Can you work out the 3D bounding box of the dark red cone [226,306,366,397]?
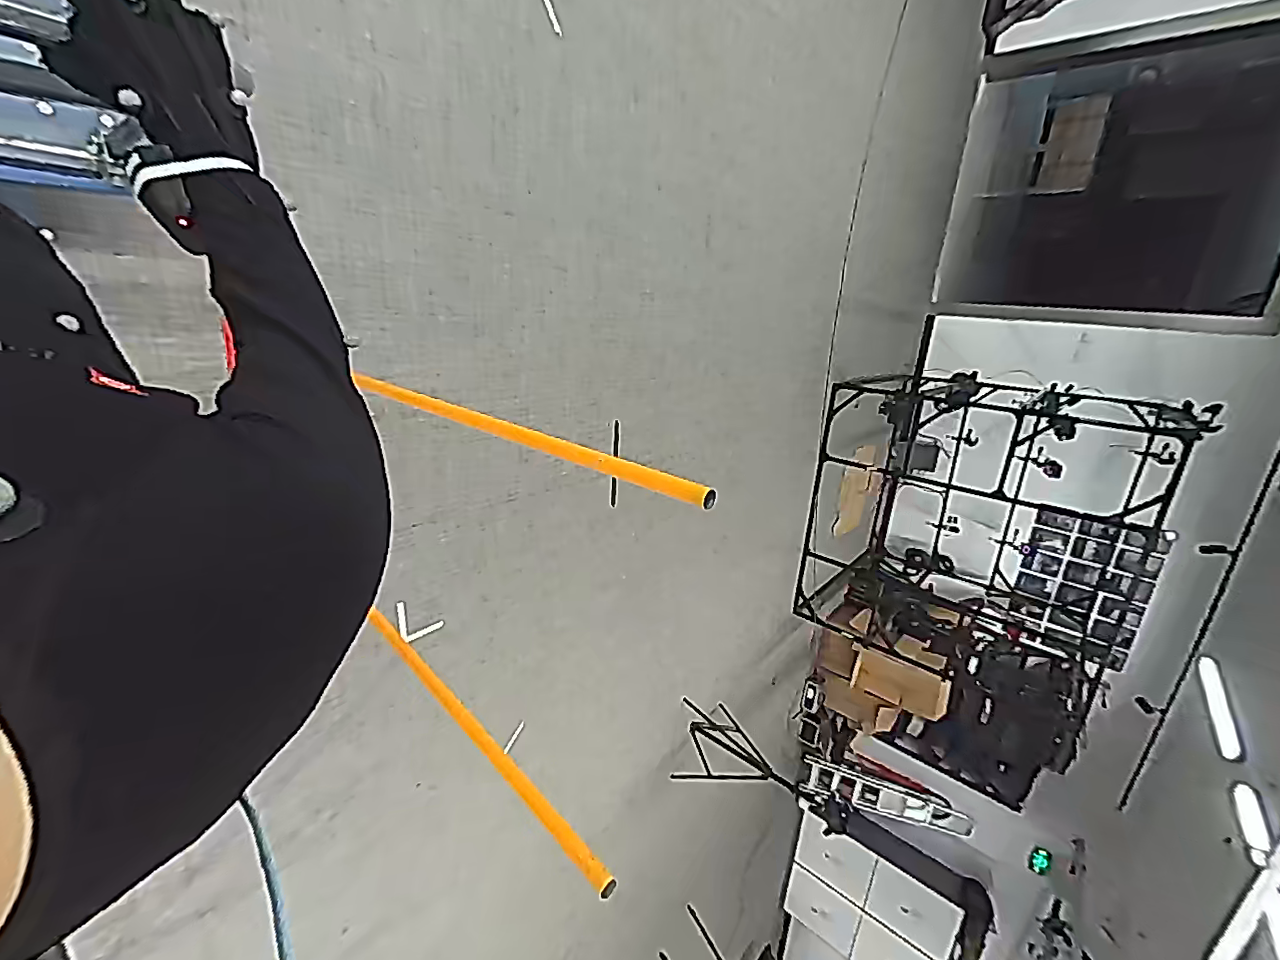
[{"bbox_3d":[-0.708,-0.258,1.168,0.201,0.394,0.202,-17,118,-50],"label":"dark red cone"}]
